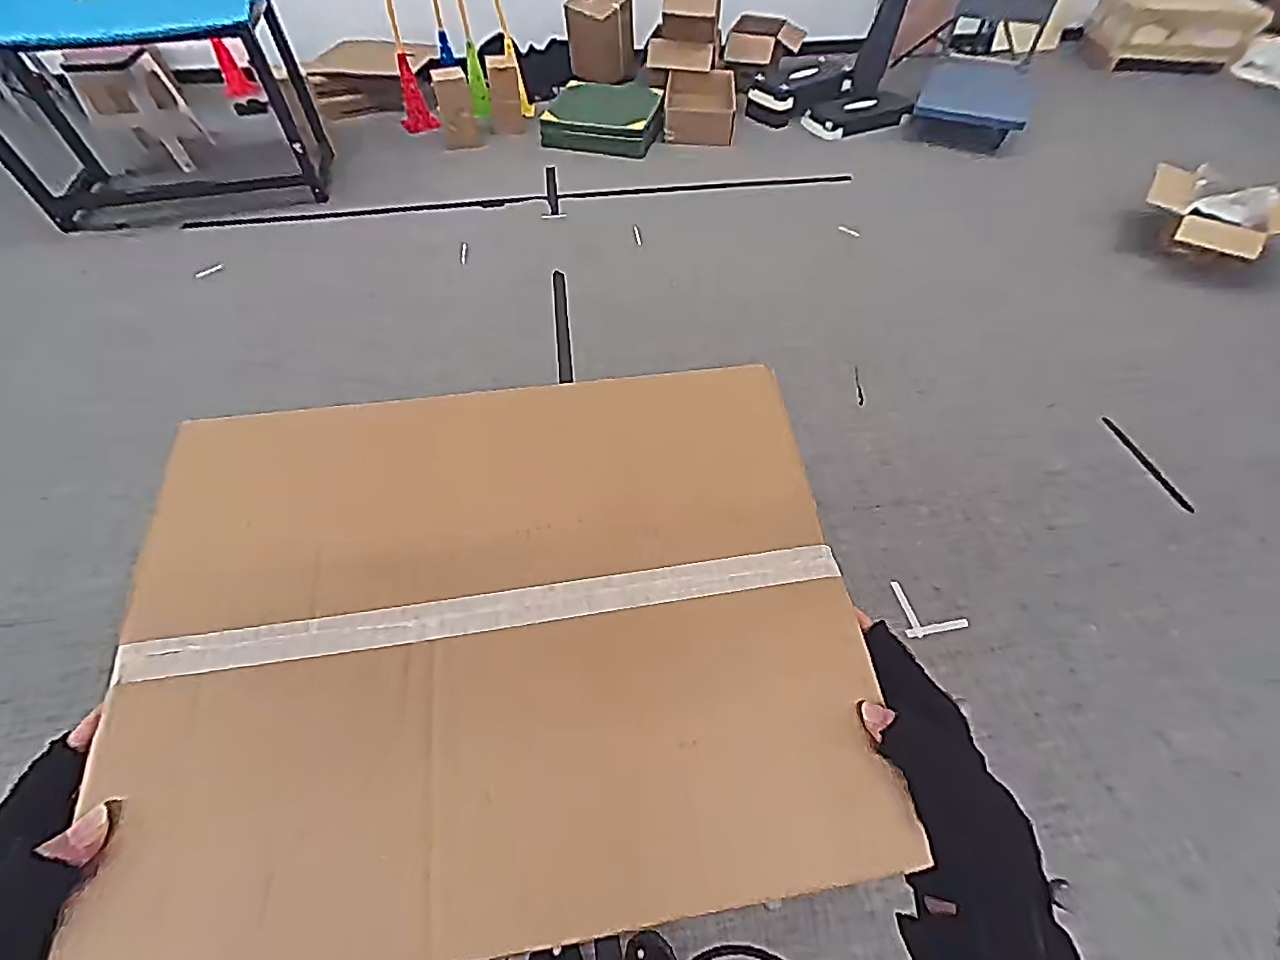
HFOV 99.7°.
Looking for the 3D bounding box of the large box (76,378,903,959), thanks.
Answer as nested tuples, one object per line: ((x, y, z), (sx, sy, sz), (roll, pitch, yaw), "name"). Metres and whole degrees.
((-0.085, 0.149, 0.453), (0.408, 0.320, 0.320), (-7, 64, -6), "large box")
